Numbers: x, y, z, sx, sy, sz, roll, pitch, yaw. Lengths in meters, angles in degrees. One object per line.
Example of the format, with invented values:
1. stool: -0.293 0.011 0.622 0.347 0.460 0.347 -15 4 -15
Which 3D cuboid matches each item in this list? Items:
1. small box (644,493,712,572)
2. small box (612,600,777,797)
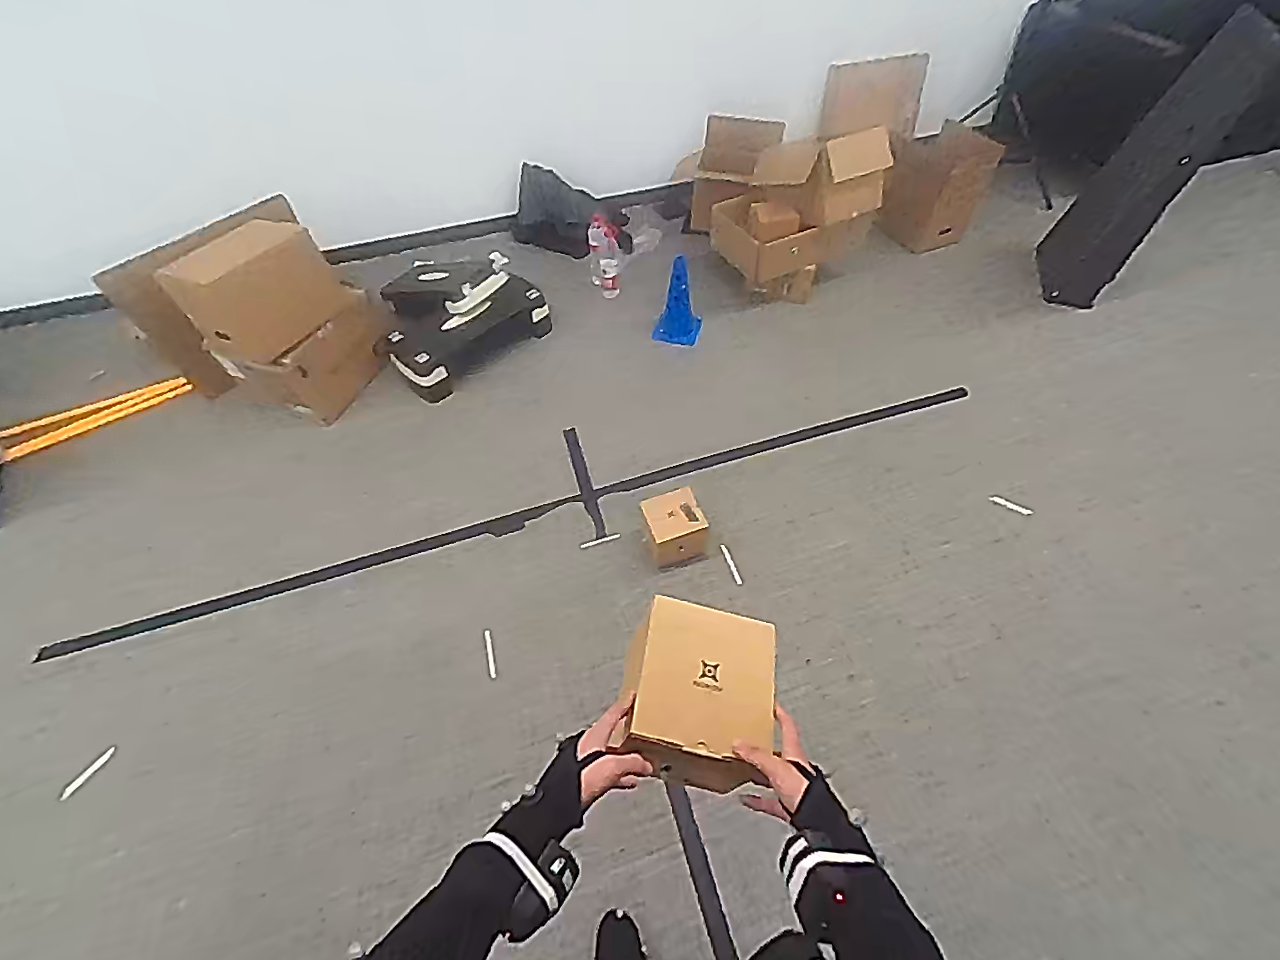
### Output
1. small box: 0.119 0.173 1.762 0.179 0.176 0.168 -17 55 -10
2. small box: 0.068 0.289 0.707 0.168 0.176 0.179 16 51 -3
